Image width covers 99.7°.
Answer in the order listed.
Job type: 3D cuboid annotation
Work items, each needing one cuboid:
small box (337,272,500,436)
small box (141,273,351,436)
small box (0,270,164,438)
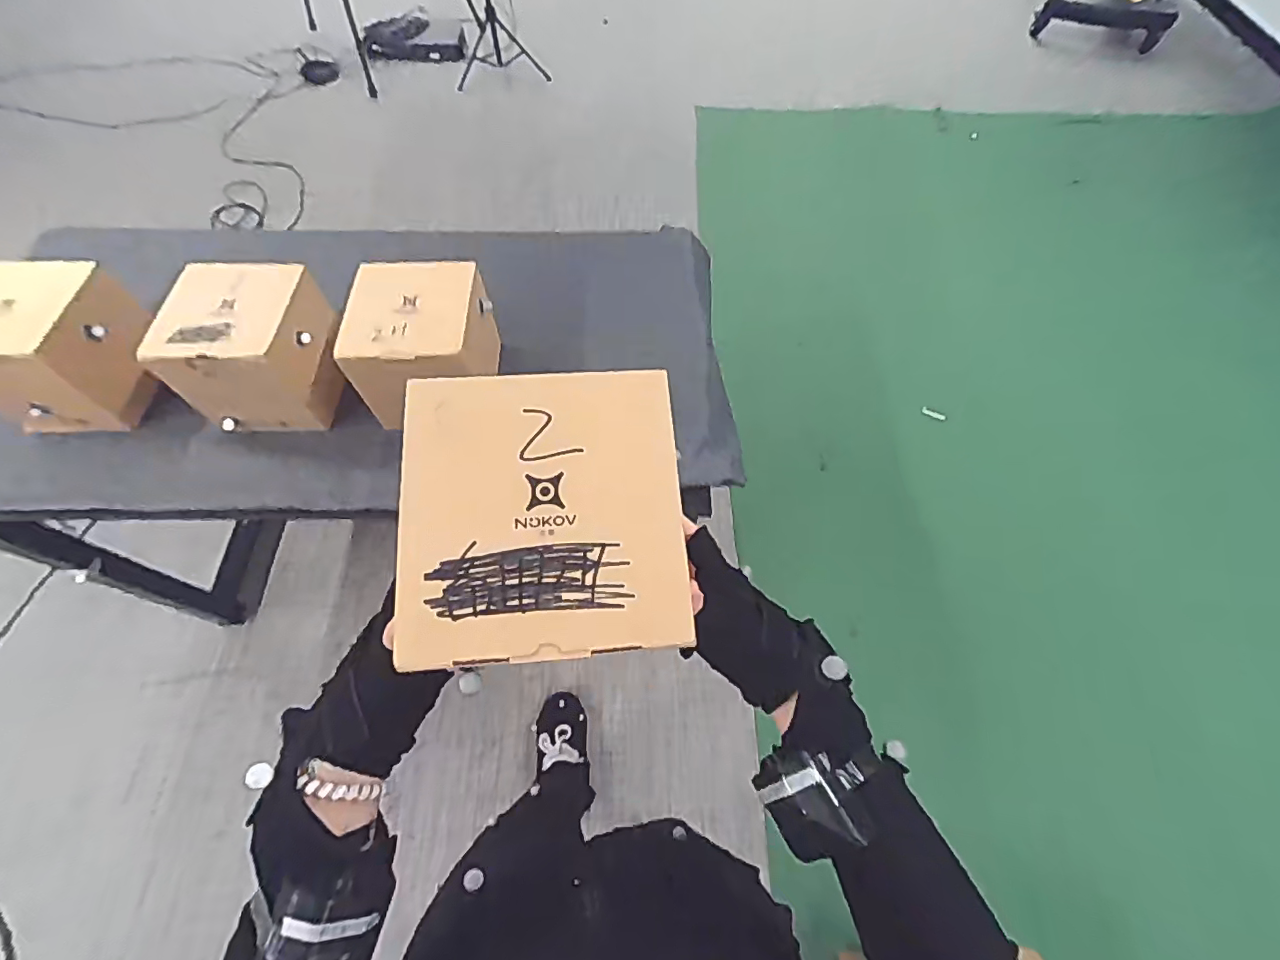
[{"bbox_3d":[-0.310,-0.183,0.802,0.168,0.176,0.179,-1,61,-1],"label":"small box"},{"bbox_3d":[-0.553,-0.178,0.795,0.168,0.176,0.179,0,60,-1],"label":"small box"},{"bbox_3d":[-0.841,-0.180,0.789,0.168,0.176,0.179,-1,60,-2],"label":"small box"}]
